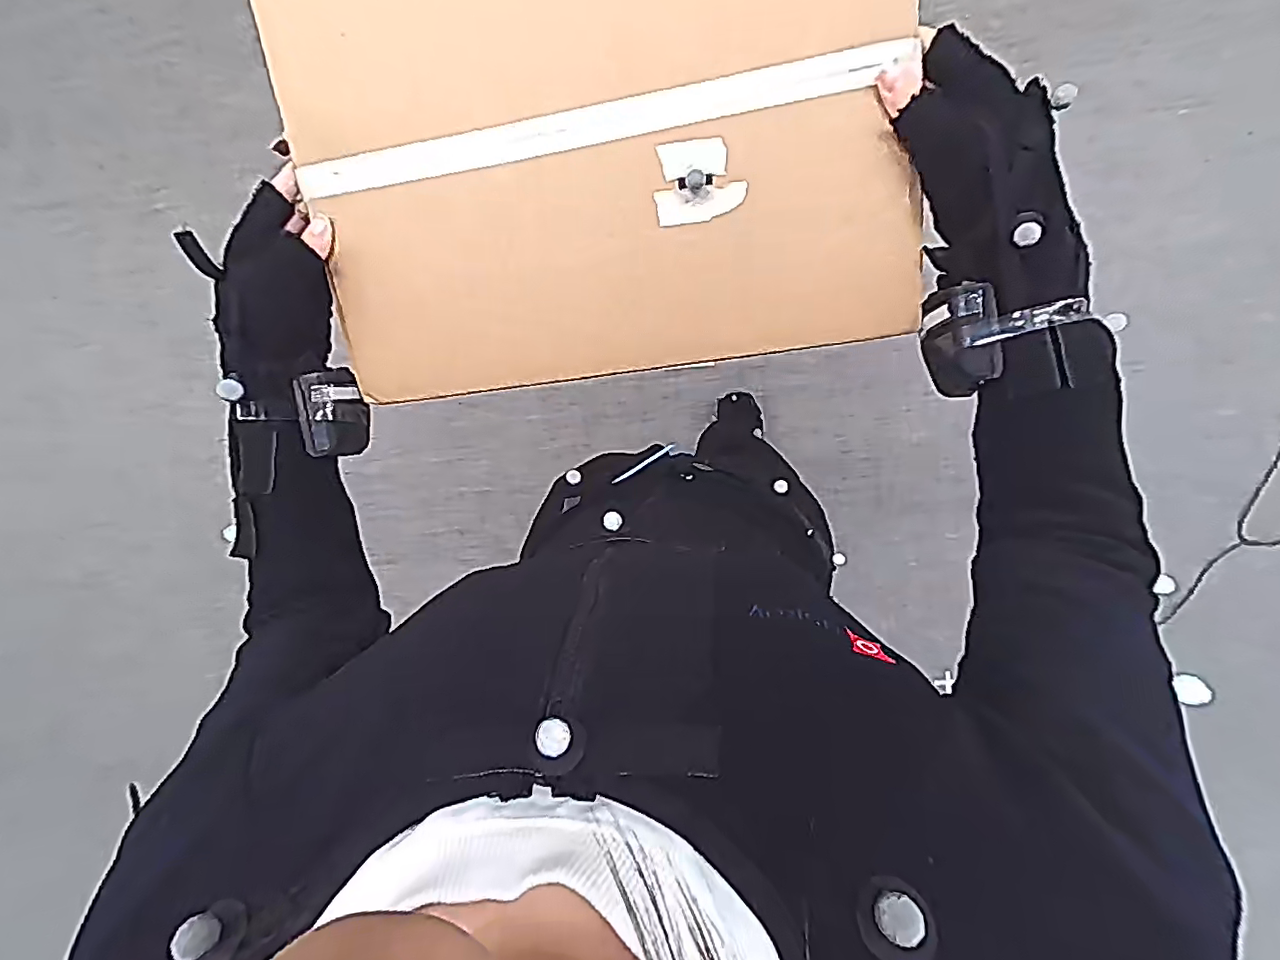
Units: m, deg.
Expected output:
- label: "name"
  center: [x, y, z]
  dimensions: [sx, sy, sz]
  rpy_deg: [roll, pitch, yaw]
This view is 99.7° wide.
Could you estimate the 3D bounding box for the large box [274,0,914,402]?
- label: "large box"
  center: [-0.017, -0.272, 0.504]
  dimensions: [0.408, 0.320, 0.320]
  rpy_deg: [-7, 106, 7]
